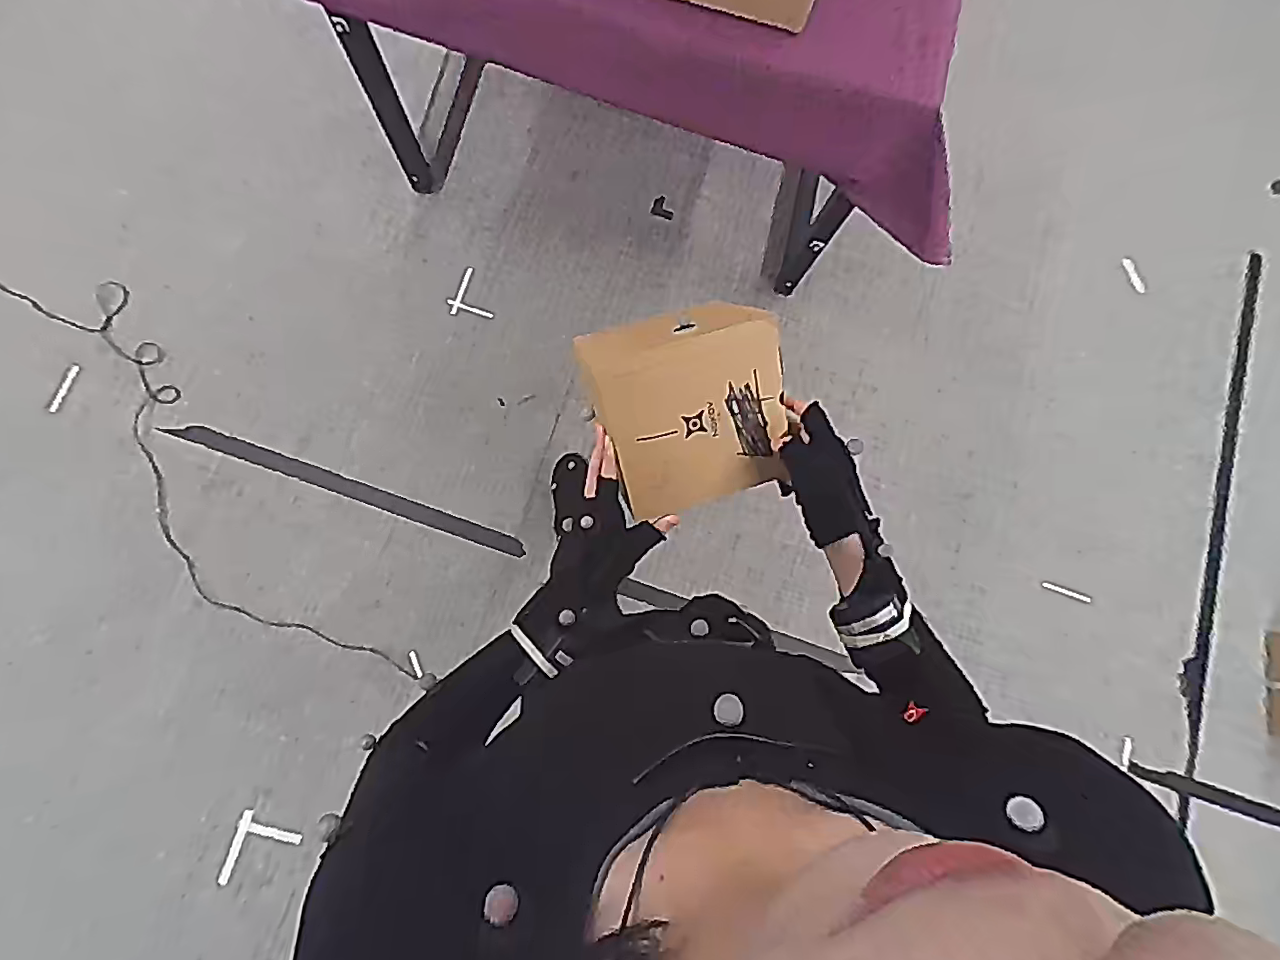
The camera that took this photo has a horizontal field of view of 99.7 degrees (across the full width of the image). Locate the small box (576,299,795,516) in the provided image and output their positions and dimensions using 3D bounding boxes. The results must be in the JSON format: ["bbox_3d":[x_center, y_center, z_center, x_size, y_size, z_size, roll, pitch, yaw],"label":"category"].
[{"bbox_3d":[0.042,-0.089,0.578,0.179,0.176,0.168,-17,114,-6],"label":"small box"}]
